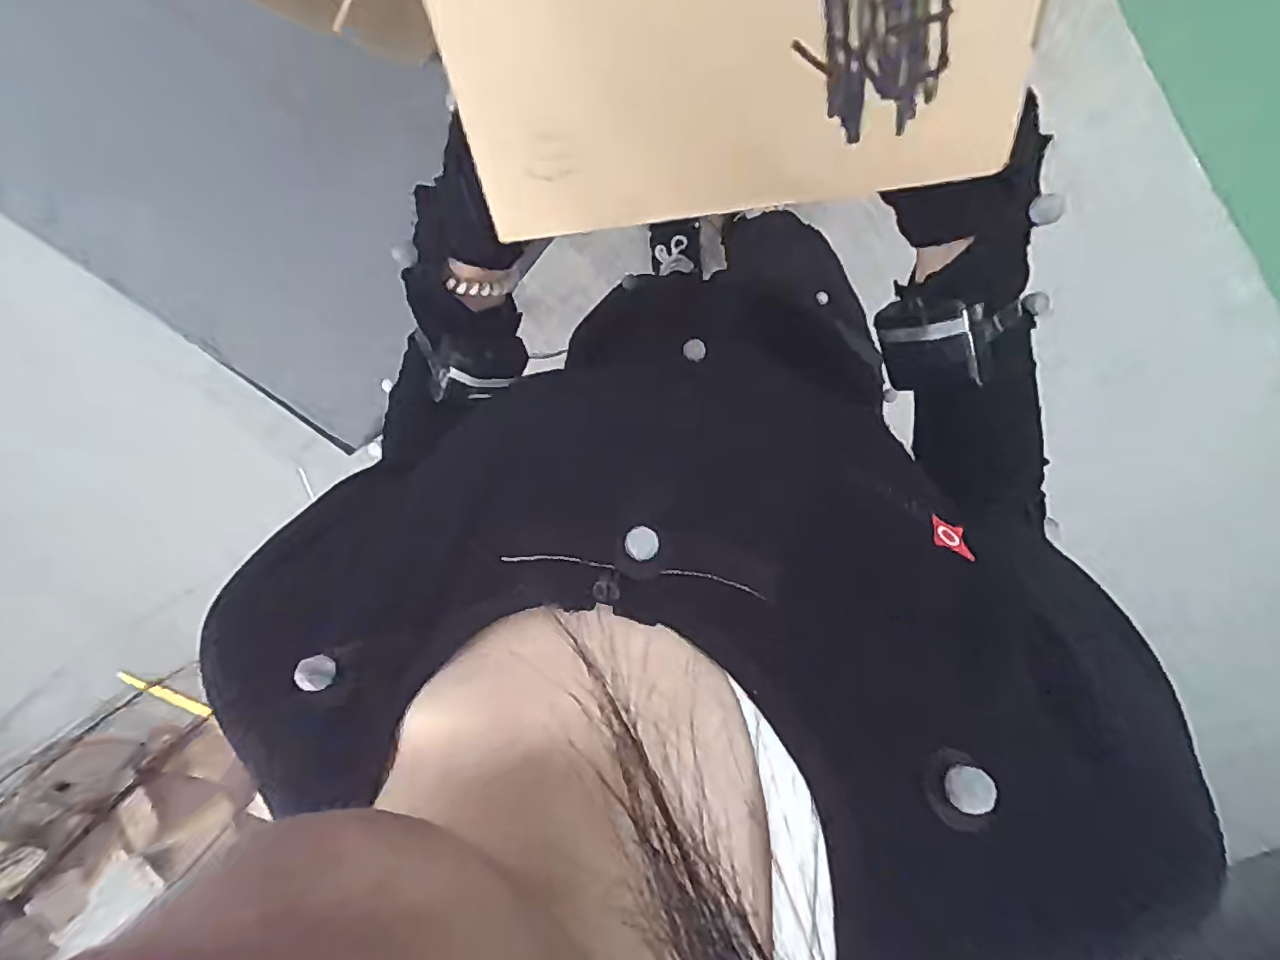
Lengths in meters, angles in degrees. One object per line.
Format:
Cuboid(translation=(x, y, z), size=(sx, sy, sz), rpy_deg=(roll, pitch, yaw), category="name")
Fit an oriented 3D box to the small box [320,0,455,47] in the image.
Cuboid(translation=(-0.238, -0.498, 0.431), size=(0.179, 0.176, 0.168), rpy_deg=(41, 115, -18), category="small box")
